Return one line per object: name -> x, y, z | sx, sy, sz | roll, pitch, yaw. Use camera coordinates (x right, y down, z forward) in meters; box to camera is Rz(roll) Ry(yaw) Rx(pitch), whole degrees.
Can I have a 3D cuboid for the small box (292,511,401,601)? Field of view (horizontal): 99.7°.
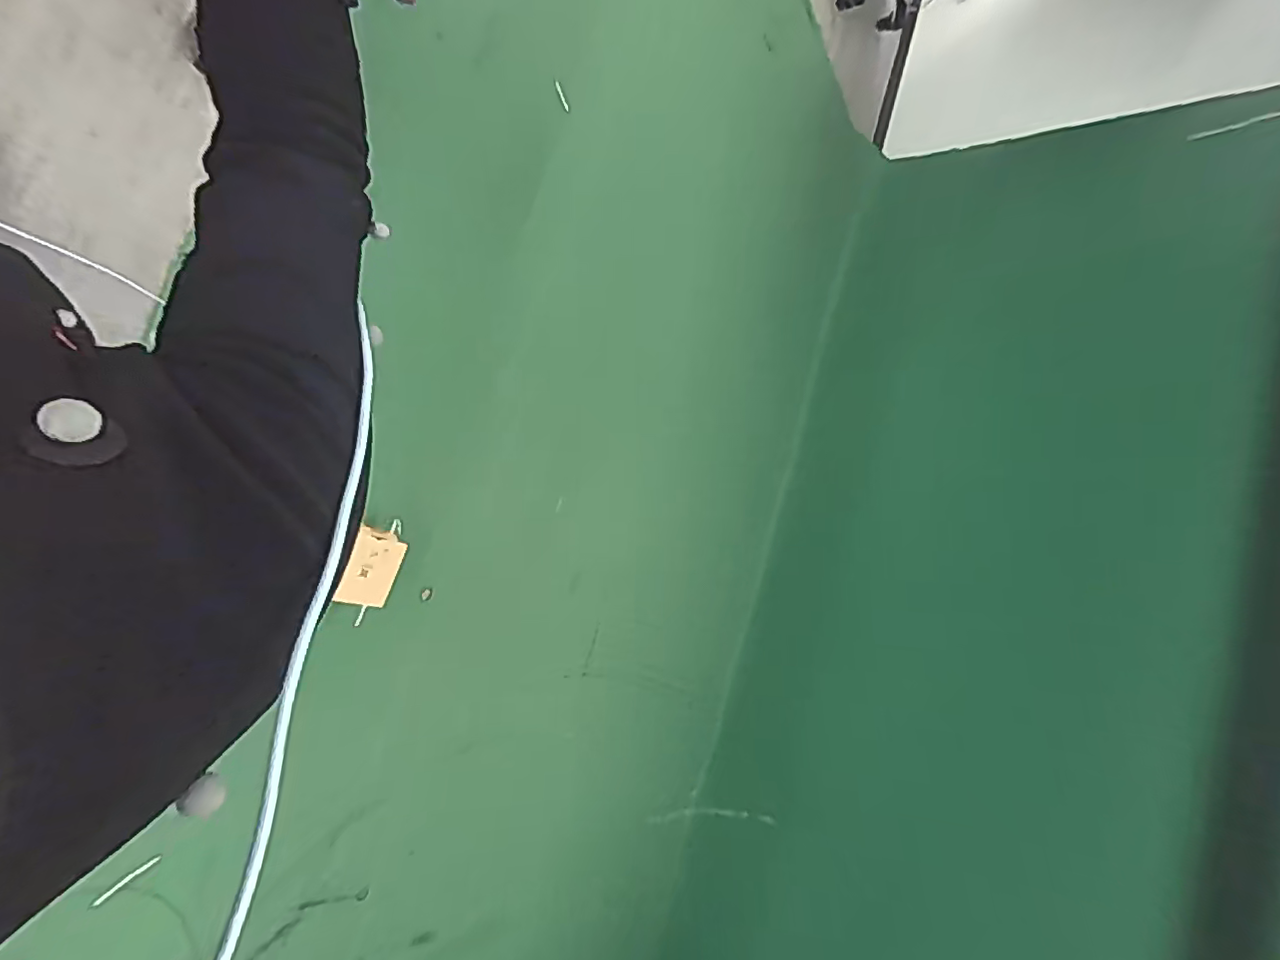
small box -> -0.763, 0.195, 1.397 | 0.168, 0.176, 0.179 | 30, 76, -51
